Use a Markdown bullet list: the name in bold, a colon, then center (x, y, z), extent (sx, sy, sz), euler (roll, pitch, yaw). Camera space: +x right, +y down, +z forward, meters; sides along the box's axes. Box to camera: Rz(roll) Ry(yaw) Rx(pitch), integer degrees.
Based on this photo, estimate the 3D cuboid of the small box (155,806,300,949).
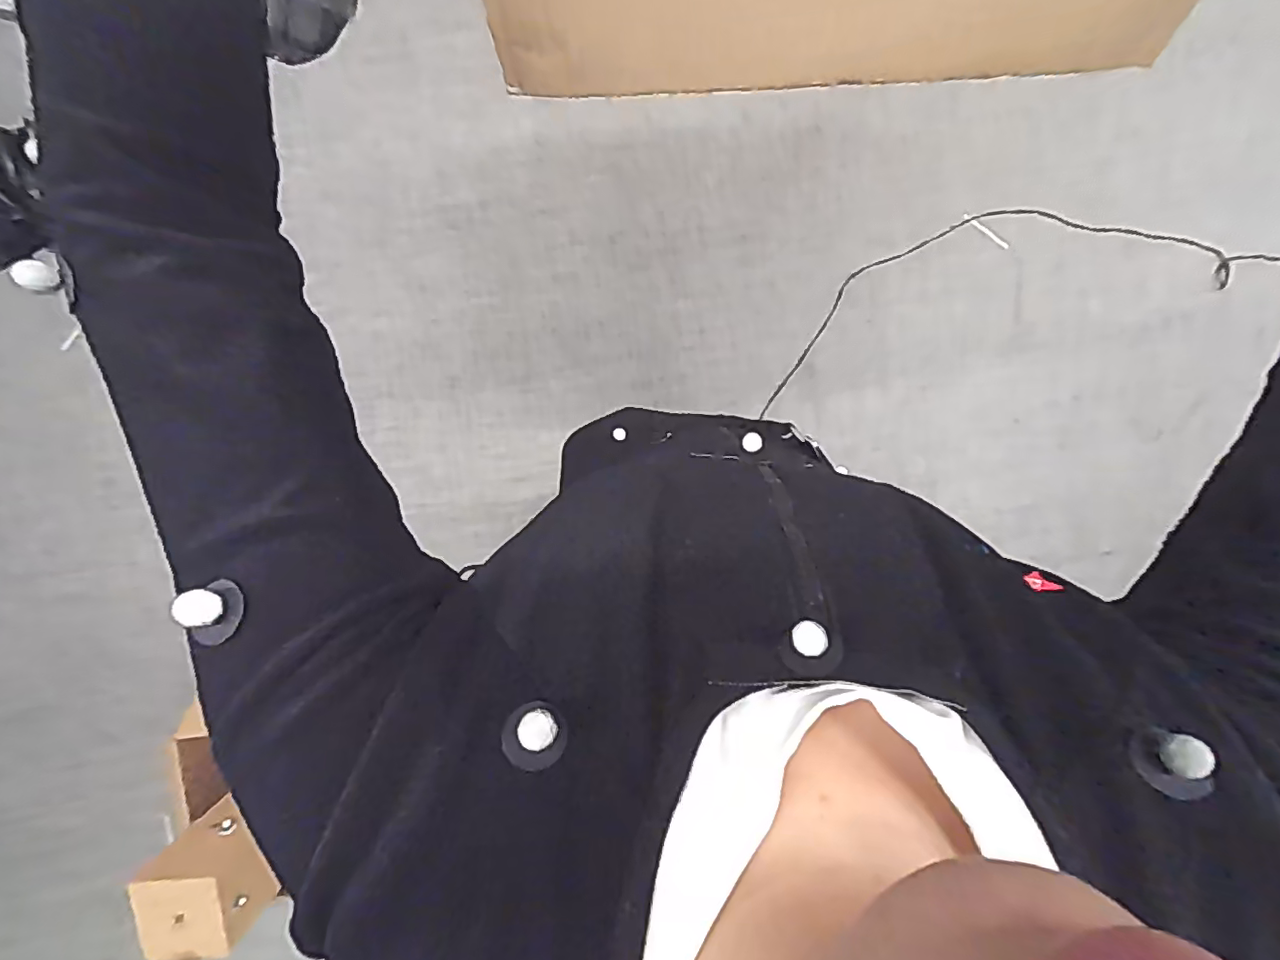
- **small box**: center (-0.851, 0.827, 1.137), extent (0.168, 0.176, 0.179), euler (-5, 98, 1)
